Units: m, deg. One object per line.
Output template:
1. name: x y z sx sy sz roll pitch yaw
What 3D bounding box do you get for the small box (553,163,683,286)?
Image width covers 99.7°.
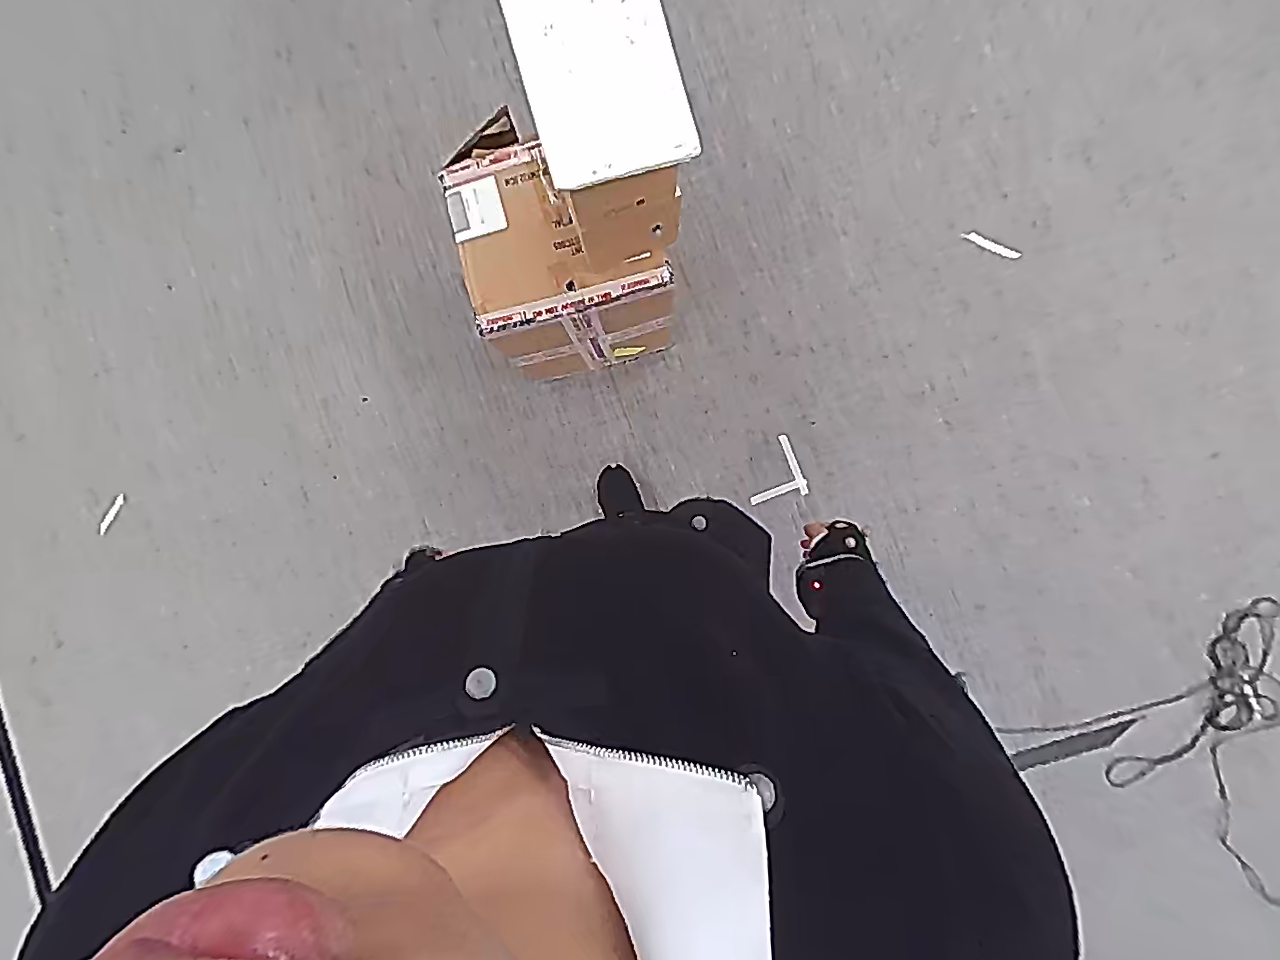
1. small box: -0.036 -0.476 0.966 0.179 0.176 0.168 -21 88 1

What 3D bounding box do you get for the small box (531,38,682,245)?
1. small box: -0.045 -0.488 0.803 0.168 0.176 0.179 -18 88 0
